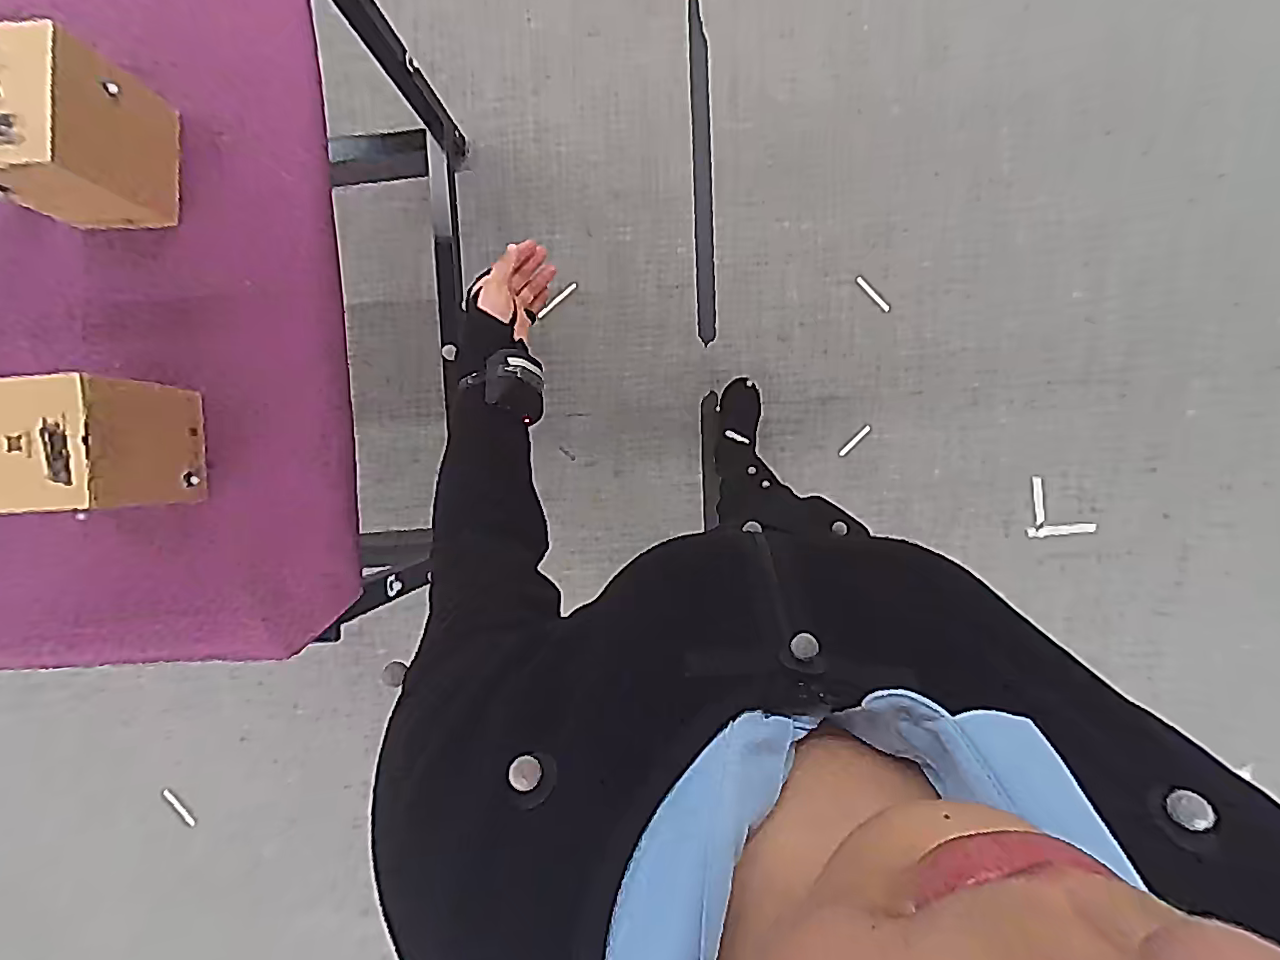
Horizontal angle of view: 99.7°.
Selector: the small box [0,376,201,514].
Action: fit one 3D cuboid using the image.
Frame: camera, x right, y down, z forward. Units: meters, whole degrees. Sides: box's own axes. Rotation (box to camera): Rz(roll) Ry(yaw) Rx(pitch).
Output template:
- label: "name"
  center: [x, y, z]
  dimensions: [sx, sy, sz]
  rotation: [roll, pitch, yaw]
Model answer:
- label: "small box"
  center: [-0.742, -0.043, 0.737]
  dimensions: [0.179, 0.176, 0.168]
  rotation: [-3, 90, 4]
